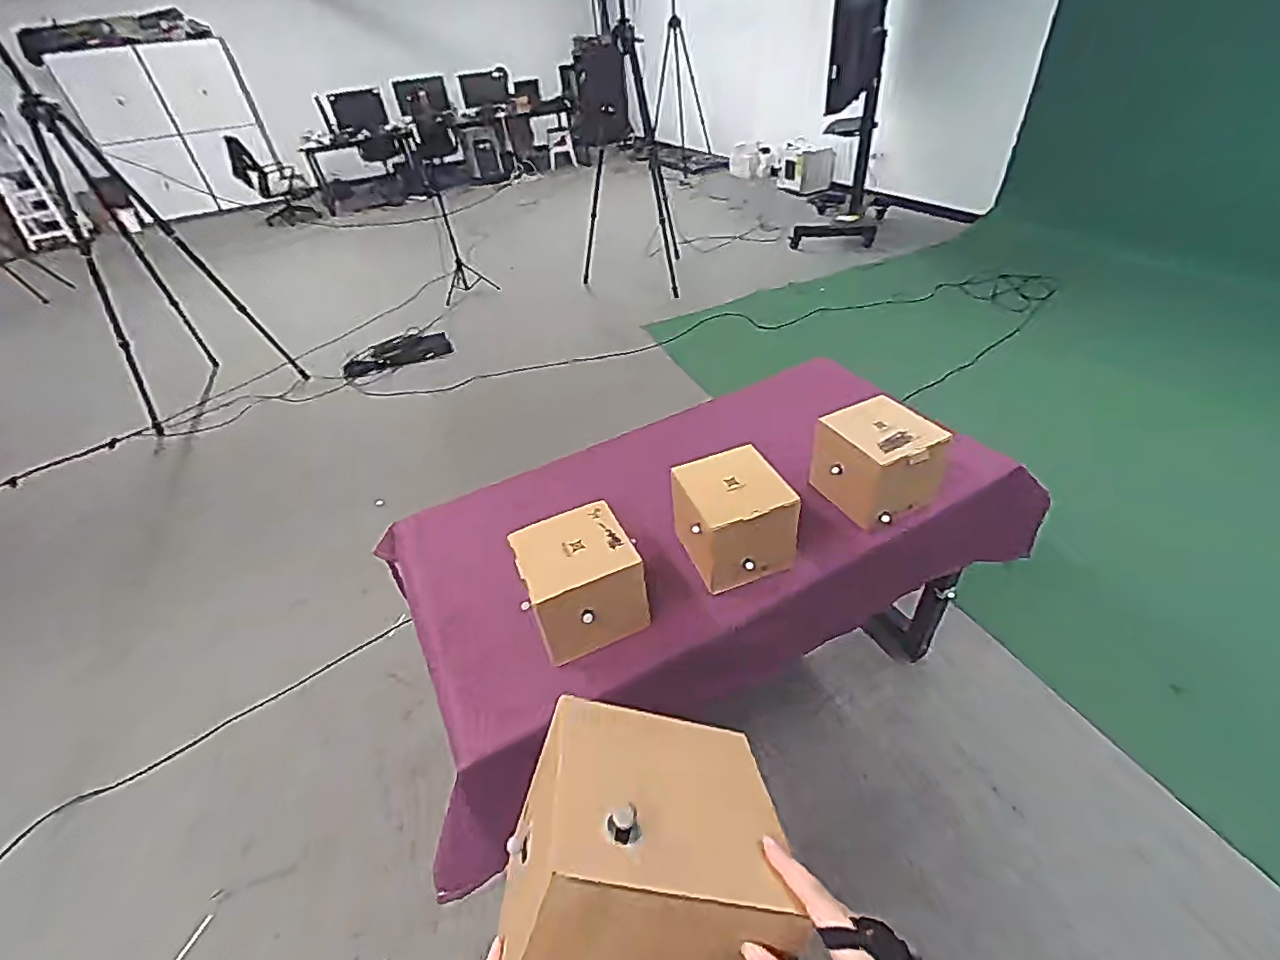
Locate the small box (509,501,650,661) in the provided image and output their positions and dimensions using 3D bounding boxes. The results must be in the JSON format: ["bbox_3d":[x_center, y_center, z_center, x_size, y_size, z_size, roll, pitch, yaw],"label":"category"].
[{"bbox_3d":[-0.098,0.171,0.908,0.179,0.176,0.168,-21,43,-14],"label":"small box"}]

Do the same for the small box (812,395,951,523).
[{"bbox_3d":[0.463,-0.037,1.065,0.168,0.176,0.179,-20,41,-15],"label":"small box"}]

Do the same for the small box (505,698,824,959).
[{"bbox_3d":[0.002,0.299,0.418,0.179,0.168,0.176,17,13,-9],"label":"small box"}]

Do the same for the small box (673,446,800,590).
[{"bbox_3d":[0.169,0.069,0.990,0.168,0.176,0.179,-17,42,-11],"label":"small box"}]
